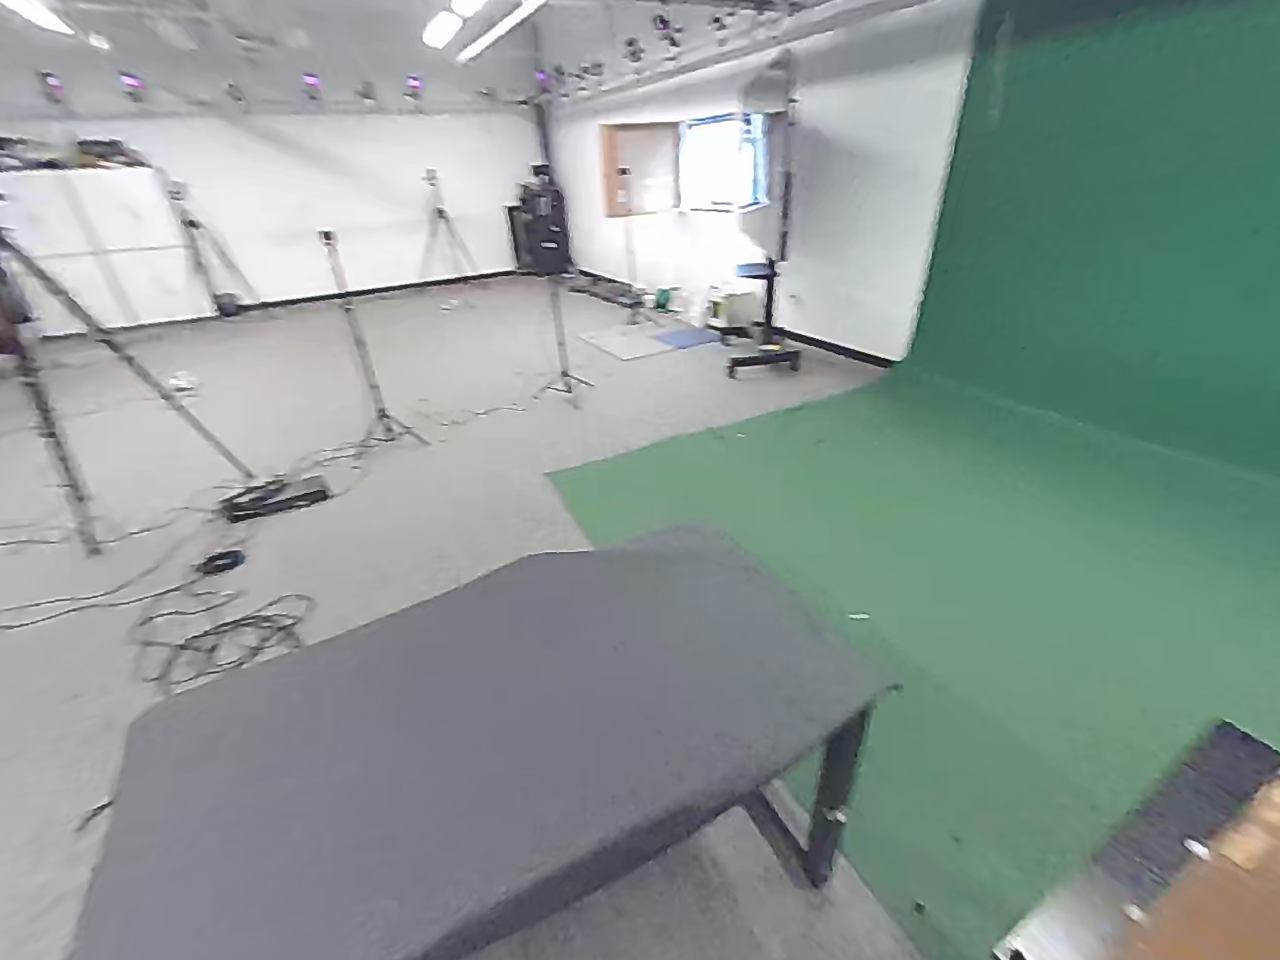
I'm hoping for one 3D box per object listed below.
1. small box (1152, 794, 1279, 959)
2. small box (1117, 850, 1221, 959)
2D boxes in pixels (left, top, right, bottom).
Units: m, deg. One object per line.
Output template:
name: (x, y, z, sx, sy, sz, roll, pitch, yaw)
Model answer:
small box: (0.572, 0.373, 0.422, 0.168, 0.176, 0.179, -18, 33, -22)
small box: (0.593, 0.505, 0.514, 0.179, 0.176, 0.168, -18, 34, -23)
